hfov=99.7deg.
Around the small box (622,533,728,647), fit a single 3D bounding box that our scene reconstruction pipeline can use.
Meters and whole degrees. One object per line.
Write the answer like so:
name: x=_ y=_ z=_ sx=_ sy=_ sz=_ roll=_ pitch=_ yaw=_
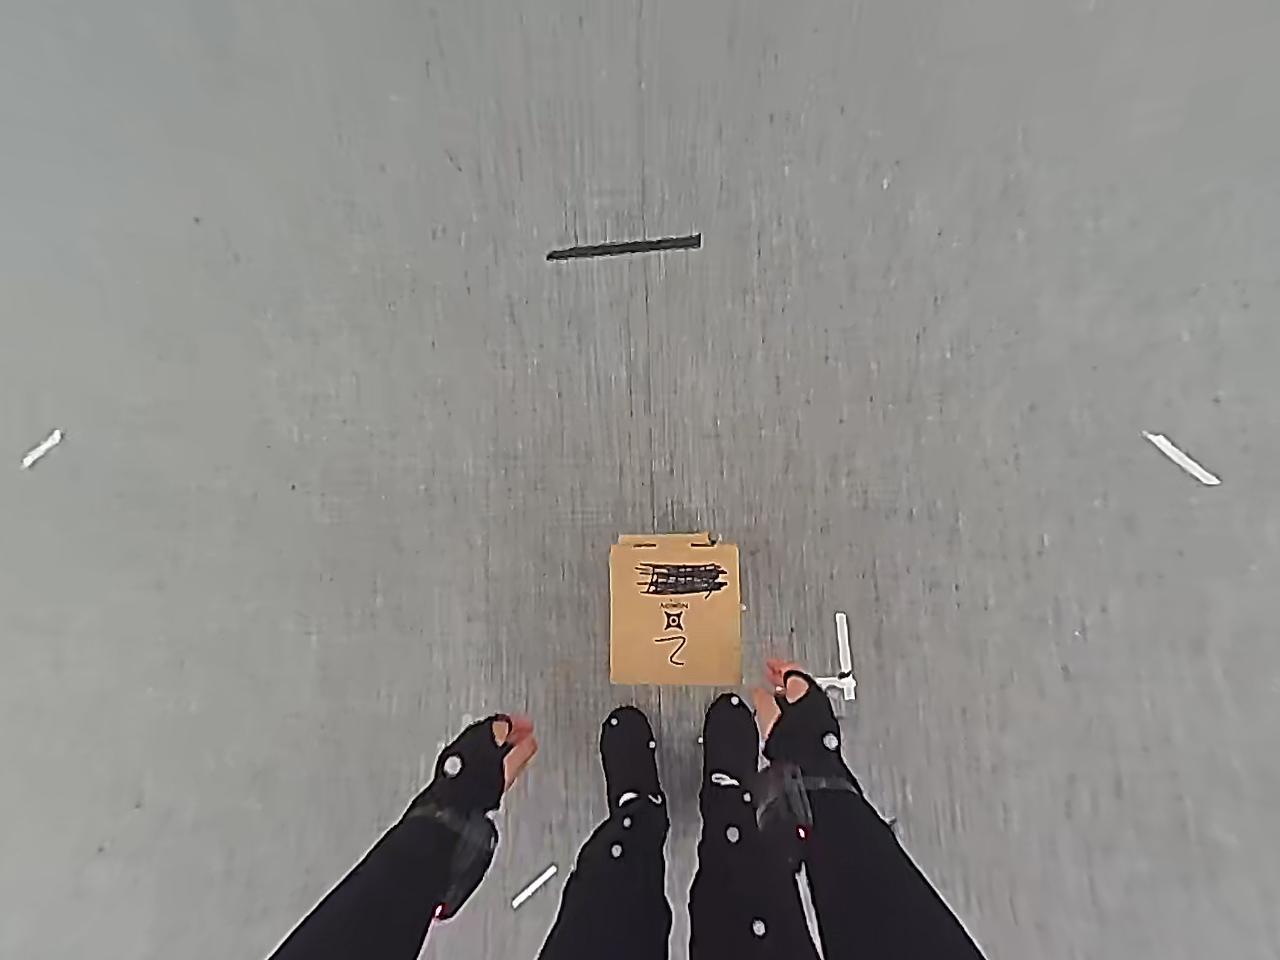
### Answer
small box: x=0.059 y=0.182 z=0.923 sx=0.168 sy=0.176 sz=0.179 roll=-2 pitch=83 yaw=5
